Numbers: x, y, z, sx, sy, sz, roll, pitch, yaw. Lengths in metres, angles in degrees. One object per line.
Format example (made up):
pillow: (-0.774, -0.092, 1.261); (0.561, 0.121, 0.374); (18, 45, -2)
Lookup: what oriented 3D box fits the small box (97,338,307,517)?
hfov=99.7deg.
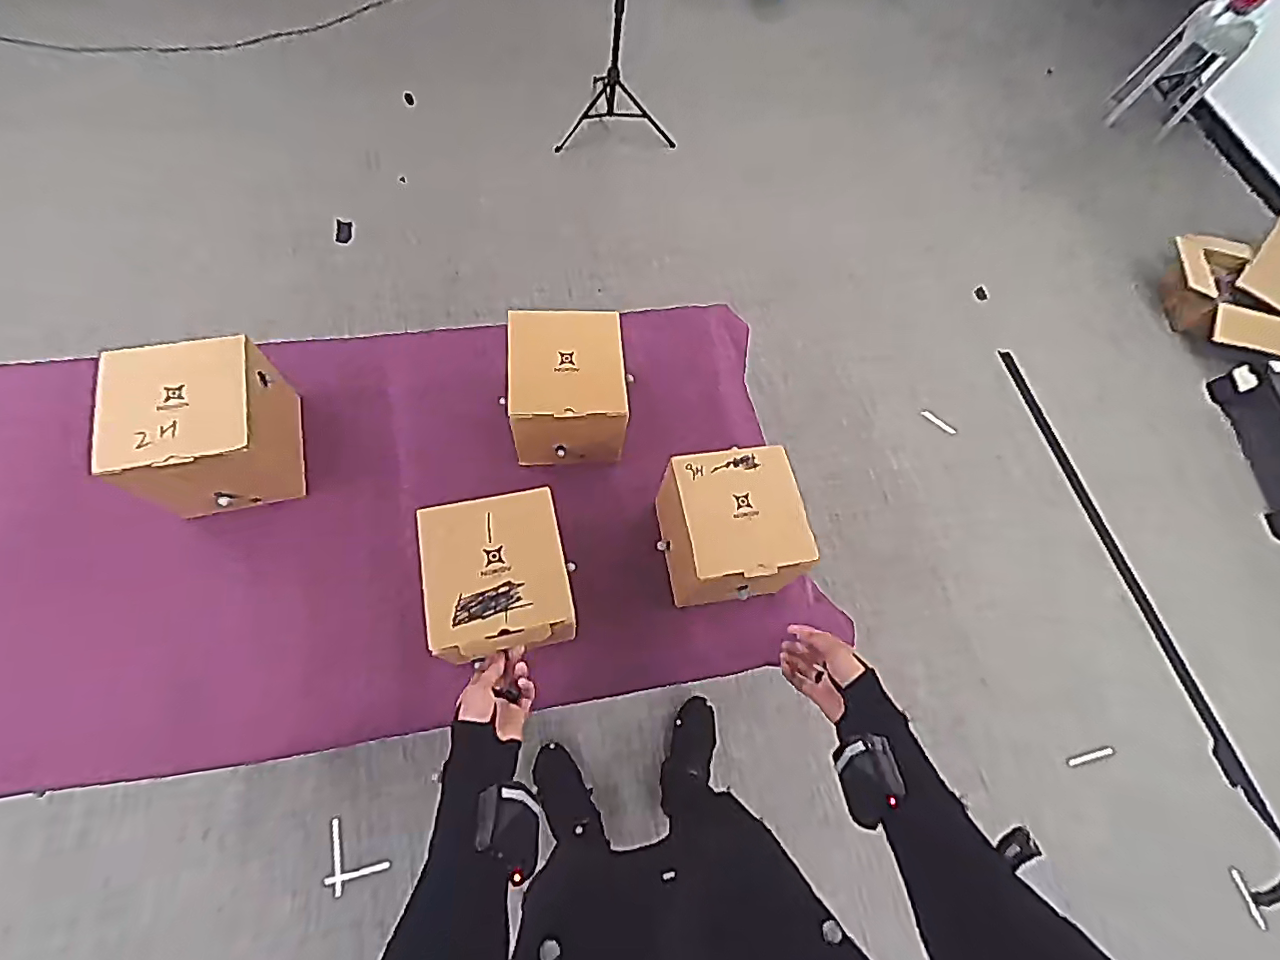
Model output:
small box: (-0.588, -0.068, 0.752); (0.168, 0.176, 0.179); (-12, 70, -12)

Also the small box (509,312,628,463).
small box: (-0.115, -0.139, 0.848); (0.168, 0.176, 0.179); (-3, 69, -9)

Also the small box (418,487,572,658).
small box: (-0.184, 0.131, 0.720); (0.168, 0.176, 0.179); (-10, 67, -12)

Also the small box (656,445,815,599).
small box: (0.125, 0.069, 0.787); (0.168, 0.176, 0.179); (-6, 66, -10)
